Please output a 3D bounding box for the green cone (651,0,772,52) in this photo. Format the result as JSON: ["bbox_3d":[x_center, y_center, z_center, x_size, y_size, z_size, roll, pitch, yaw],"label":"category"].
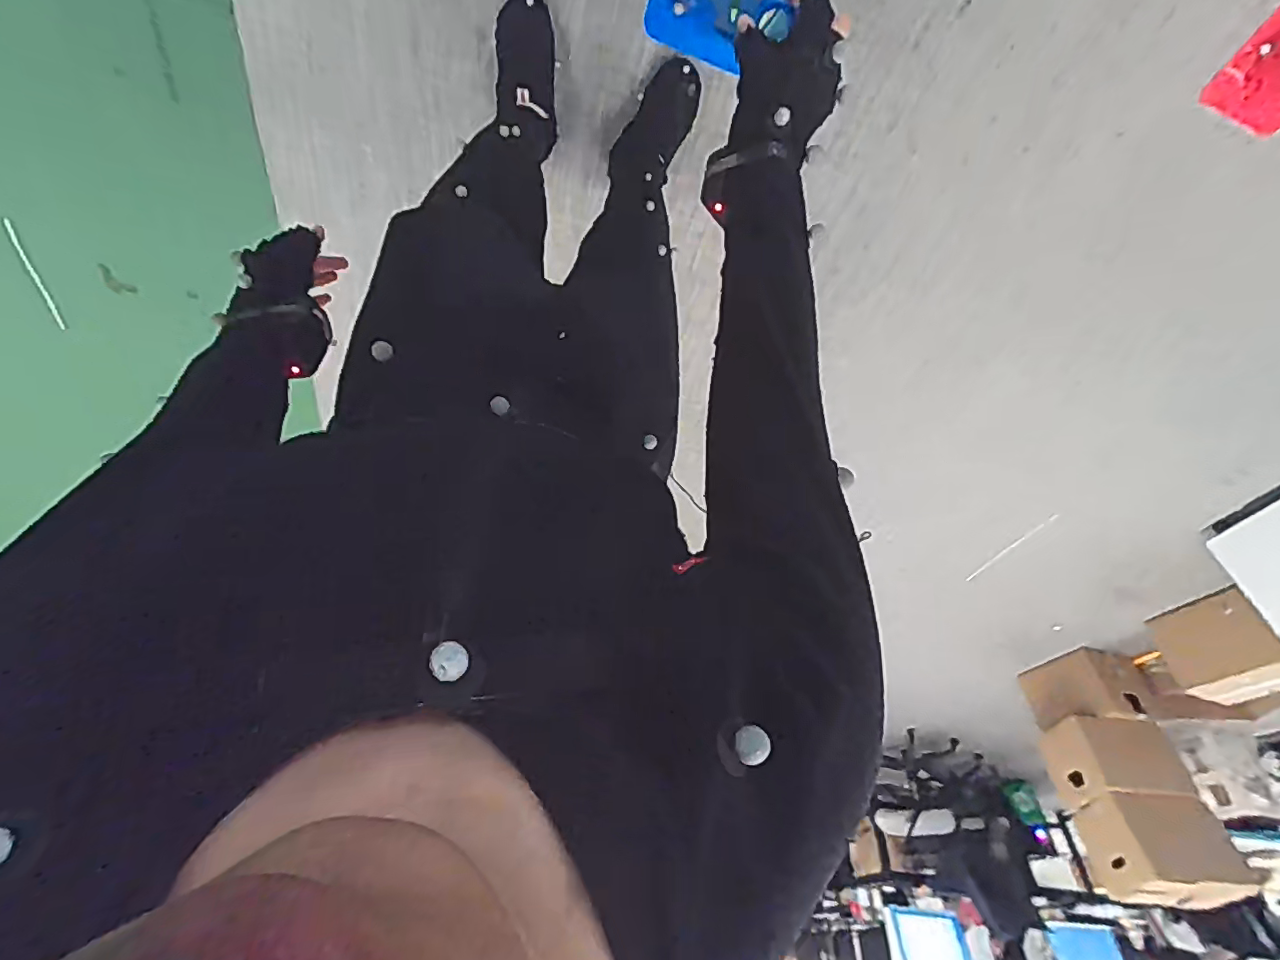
[{"bbox_3d":[0.131,-0.725,0.781,0.202,0.368,0.200,12,138,-12],"label":"green cone"}]
